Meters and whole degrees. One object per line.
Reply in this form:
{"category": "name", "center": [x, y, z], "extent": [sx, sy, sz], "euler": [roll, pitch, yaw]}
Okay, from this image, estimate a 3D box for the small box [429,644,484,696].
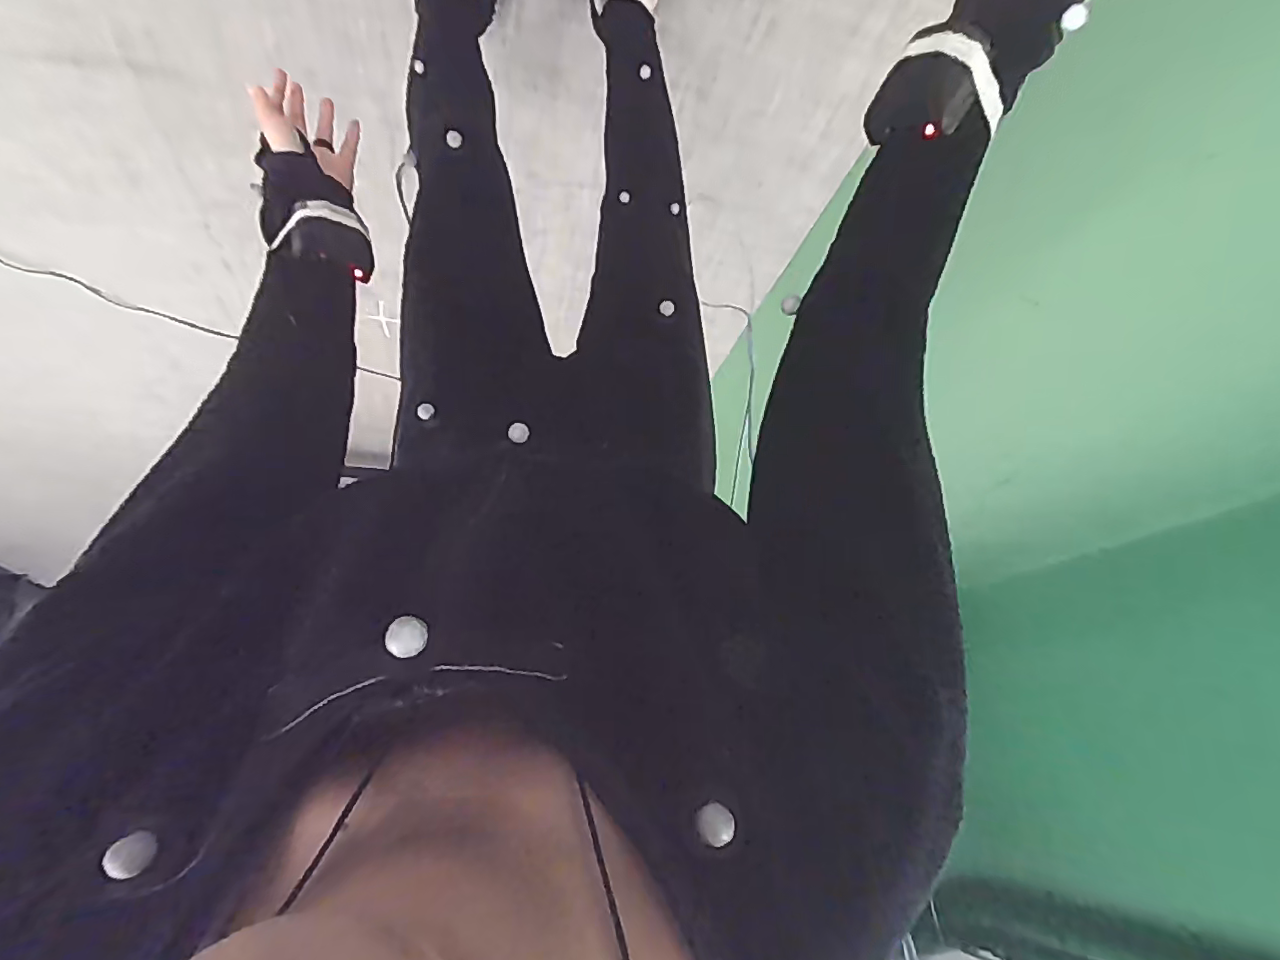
{"category": "small box", "center": [-0.697, 0.727, 2.069], "extent": [0.179, 0.176, 0.168], "euler": [4, 153, -12]}
